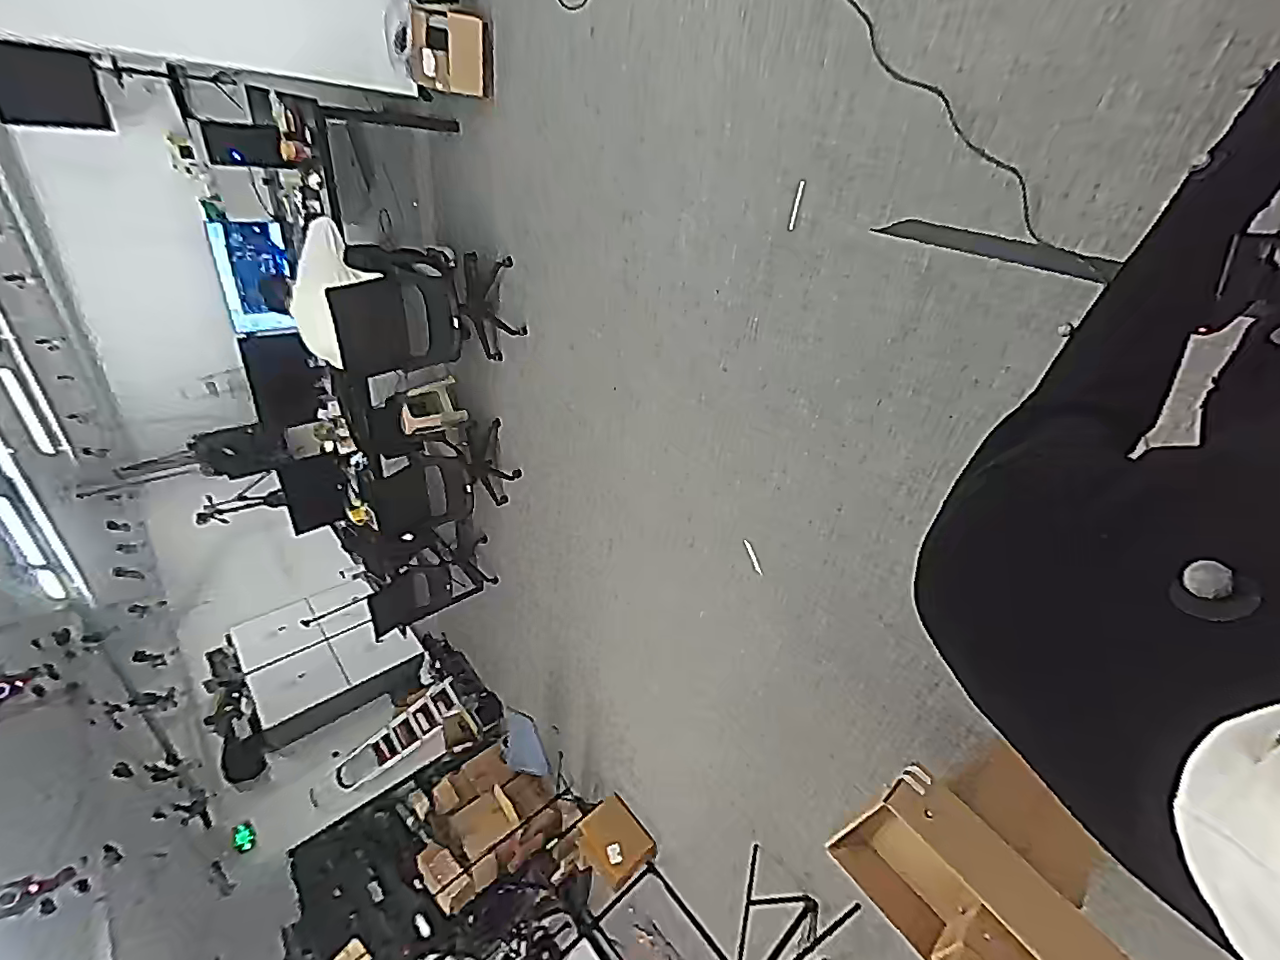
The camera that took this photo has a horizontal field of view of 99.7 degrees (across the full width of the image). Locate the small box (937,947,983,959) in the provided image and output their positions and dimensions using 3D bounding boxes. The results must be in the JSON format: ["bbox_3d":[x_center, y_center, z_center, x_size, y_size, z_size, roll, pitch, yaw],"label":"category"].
[{"bbox_3d":[0.782,1.277,1.291,0.168,0.176,0.179,41,136,32],"label":"small box"}]
